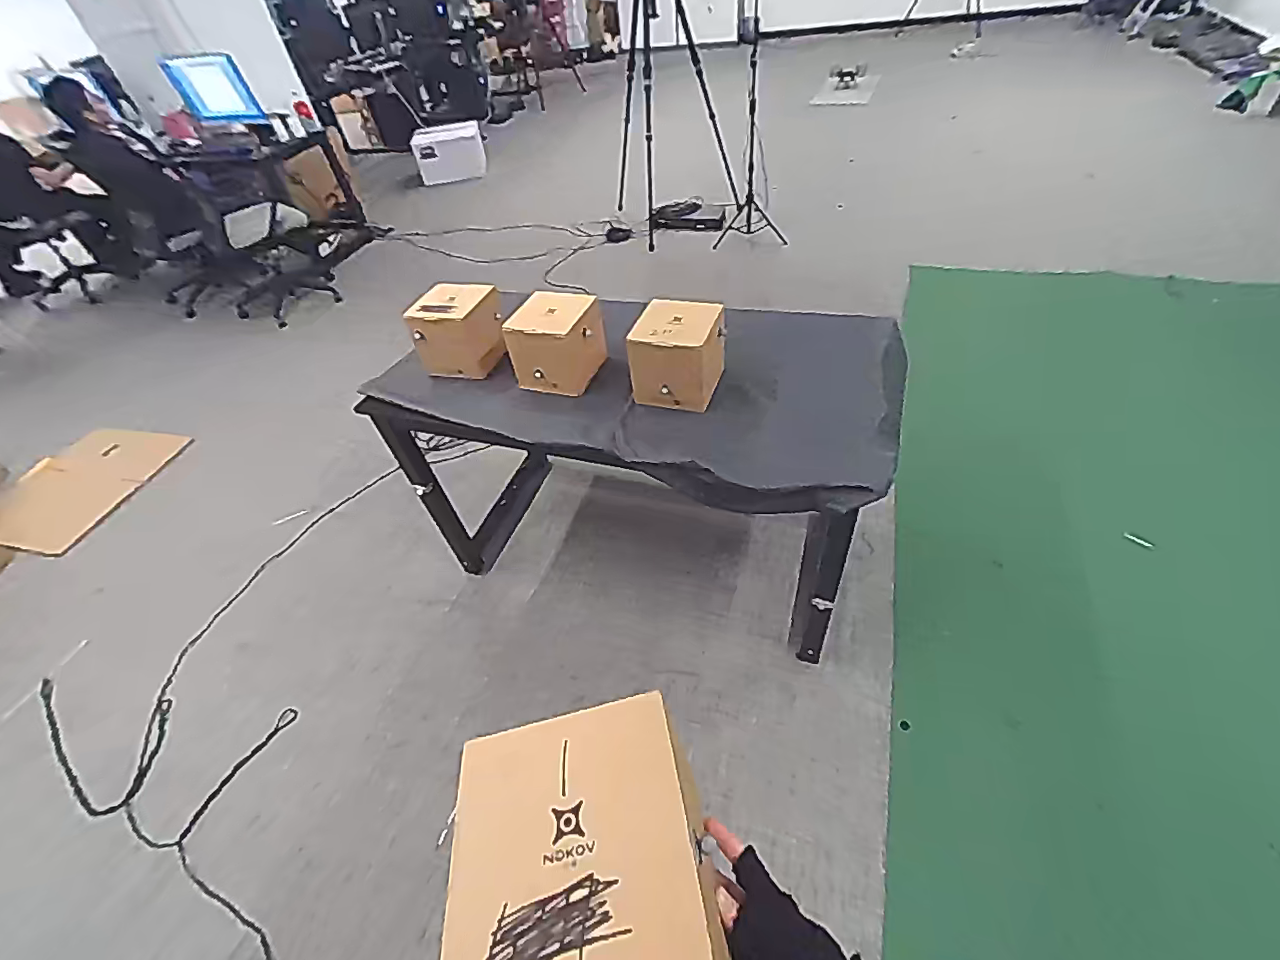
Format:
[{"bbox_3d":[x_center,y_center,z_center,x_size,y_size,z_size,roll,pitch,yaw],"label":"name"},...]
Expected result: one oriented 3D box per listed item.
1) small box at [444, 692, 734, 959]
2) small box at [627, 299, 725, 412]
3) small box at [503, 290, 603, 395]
[{"bbox_3d":[-0.030,0.301,0.415,0.168,0.176,0.179,-15,38,0],"label":"small box"},{"bbox_3d":[0.084,-0.276,1.197,0.168,0.176,0.179,12,49,18],"label":"small box"},{"bbox_3d":[-0.196,-0.328,1.287,0.168,0.176,0.179,12,50,17],"label":"small box"}]
